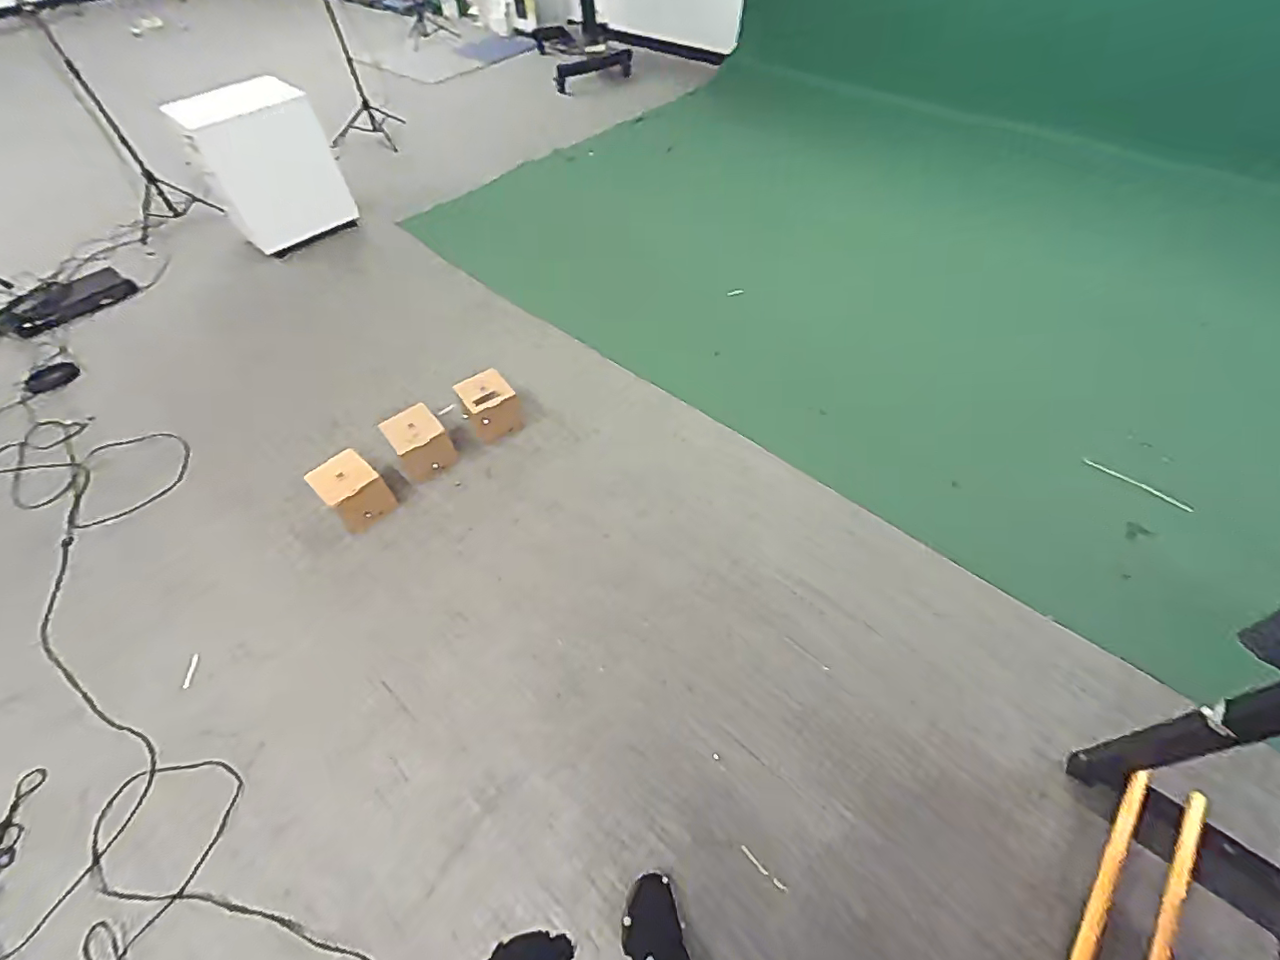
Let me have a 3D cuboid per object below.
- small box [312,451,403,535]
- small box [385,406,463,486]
[{"bbox_3d":[-0.903,0.045,1.736,0.179,0.176,0.168,36,62,25],"label":"small box"},{"bbox_3d":[-0.735,-0.113,1.849,0.168,0.176,0.179,-34,59,-21],"label":"small box"}]
